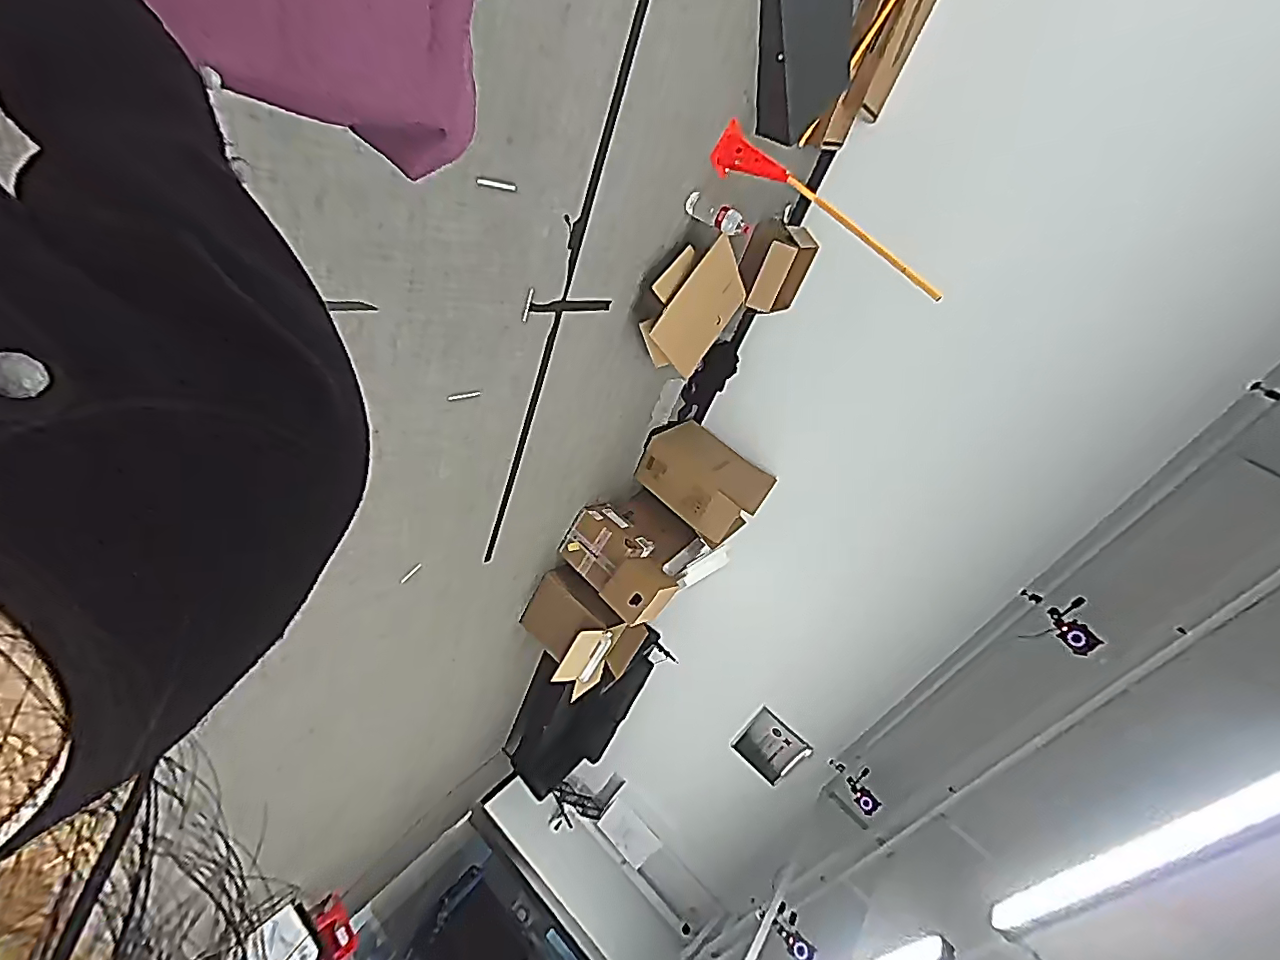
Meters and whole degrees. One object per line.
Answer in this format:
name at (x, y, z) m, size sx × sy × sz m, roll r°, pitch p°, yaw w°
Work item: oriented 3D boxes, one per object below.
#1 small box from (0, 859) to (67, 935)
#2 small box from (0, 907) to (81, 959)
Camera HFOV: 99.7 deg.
small box at (-1.730, 1.191, 1.474) m, size 0.179 × 0.176 × 0.168 m, roll -25°, pitch 145°, yaw -49°
small box at (-1.605, 1.277, 1.416) m, size 0.168 × 0.176 × 0.179 m, roll -26°, pitch 146°, yaw -50°
